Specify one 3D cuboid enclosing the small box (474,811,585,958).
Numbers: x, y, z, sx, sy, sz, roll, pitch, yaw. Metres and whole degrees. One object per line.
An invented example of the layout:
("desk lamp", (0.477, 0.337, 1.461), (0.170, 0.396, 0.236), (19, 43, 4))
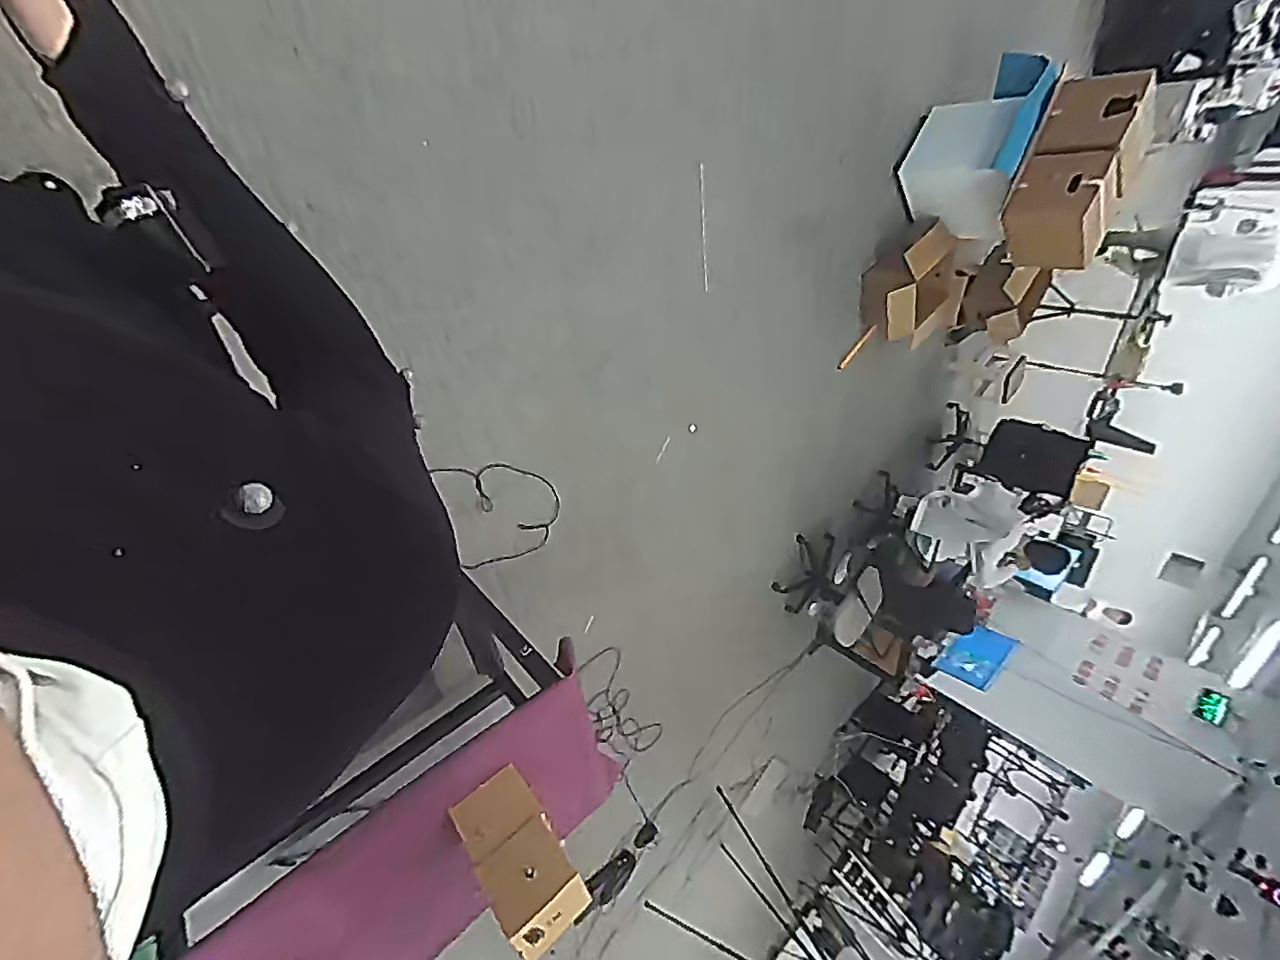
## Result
("small box", (-0.254, 0.906, 1.223), (0.179, 0.176, 0.168), (-33, 131, -30))
